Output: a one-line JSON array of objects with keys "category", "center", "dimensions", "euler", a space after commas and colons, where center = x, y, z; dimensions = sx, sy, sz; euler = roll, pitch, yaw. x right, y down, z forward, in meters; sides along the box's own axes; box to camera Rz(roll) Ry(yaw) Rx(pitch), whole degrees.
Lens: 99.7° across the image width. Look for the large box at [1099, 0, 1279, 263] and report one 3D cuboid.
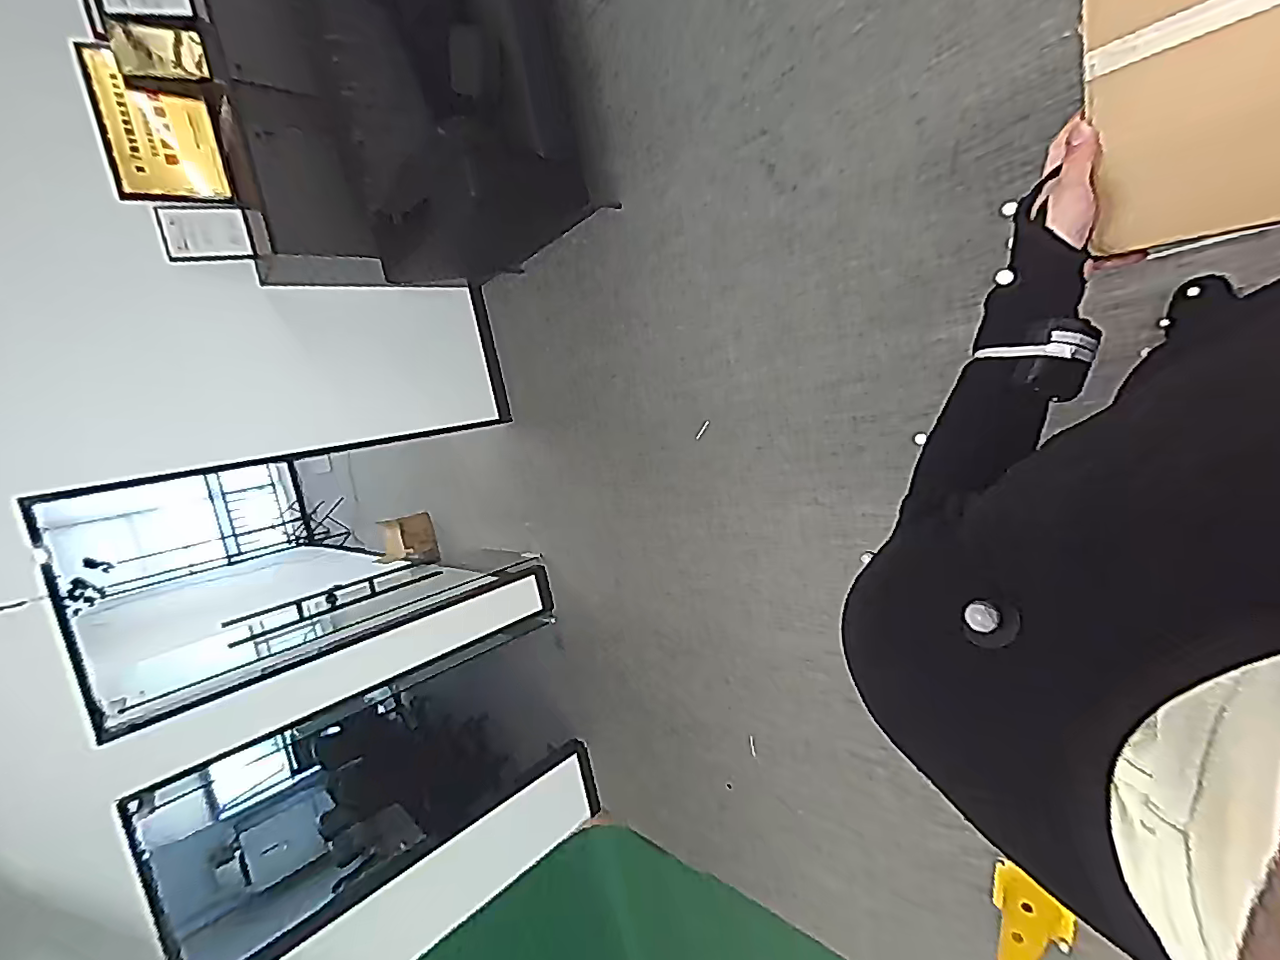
[{"category": "large box", "center": [0.634, -0.379, 0.406], "dimensions": [0.408, 0.320, 0.320], "euler": [3, 110, 50]}]
